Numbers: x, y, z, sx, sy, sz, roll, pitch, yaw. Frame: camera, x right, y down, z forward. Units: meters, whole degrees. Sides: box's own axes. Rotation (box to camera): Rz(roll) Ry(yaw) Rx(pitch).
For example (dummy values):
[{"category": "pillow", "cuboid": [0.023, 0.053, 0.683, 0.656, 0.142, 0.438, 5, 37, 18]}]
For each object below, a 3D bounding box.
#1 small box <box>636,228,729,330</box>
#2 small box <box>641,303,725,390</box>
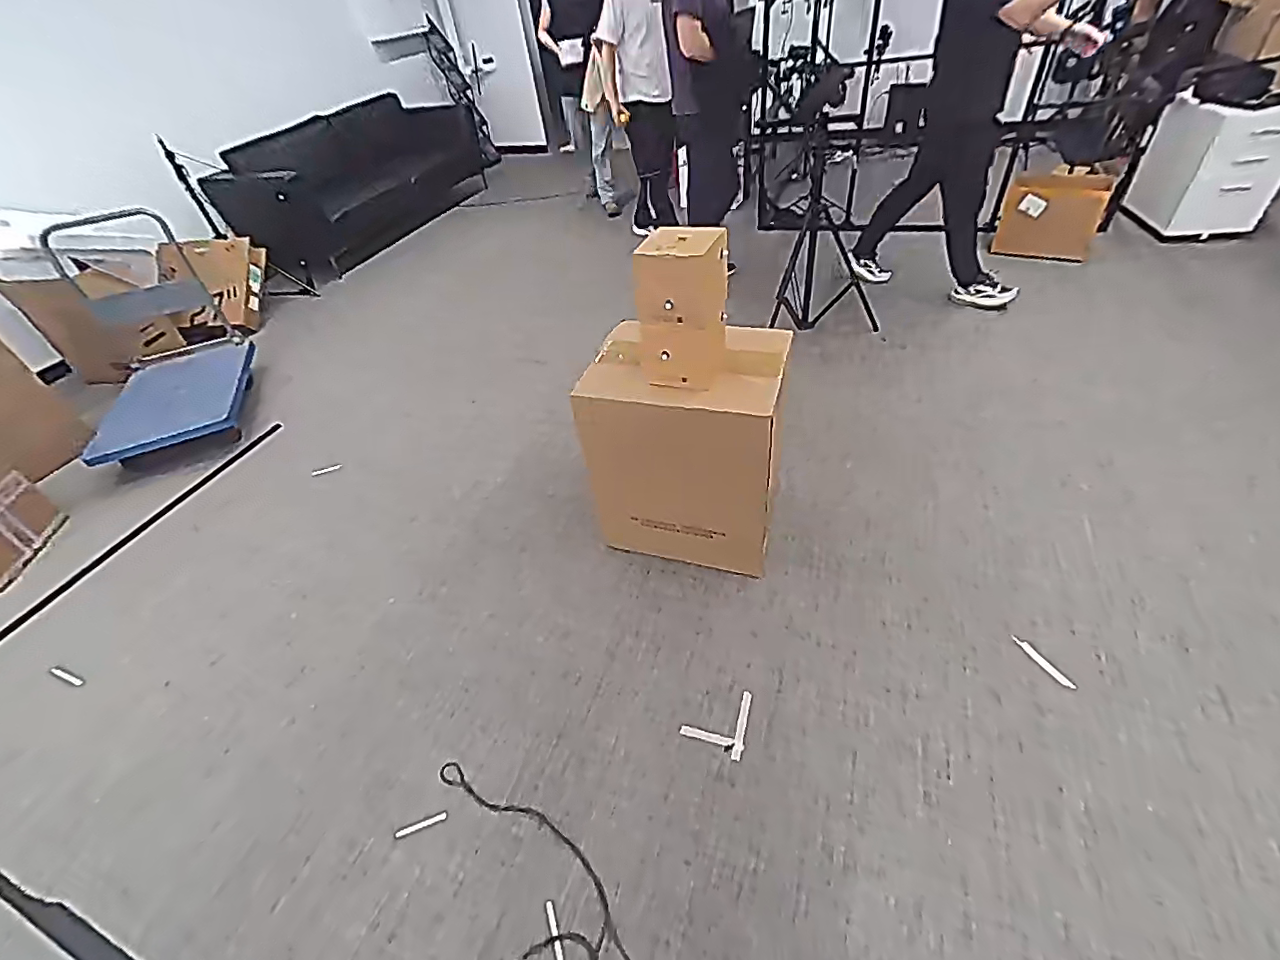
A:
[{"category": "small box", "cuboid": [0.105, -0.472, 1.261, 0.168, 0.176, 0.179, 11, 45, 22]}, {"category": "small box", "cuboid": [0.118, -0.346, 1.368, 0.168, 0.176, 0.179, 10, 45, 20]}]
